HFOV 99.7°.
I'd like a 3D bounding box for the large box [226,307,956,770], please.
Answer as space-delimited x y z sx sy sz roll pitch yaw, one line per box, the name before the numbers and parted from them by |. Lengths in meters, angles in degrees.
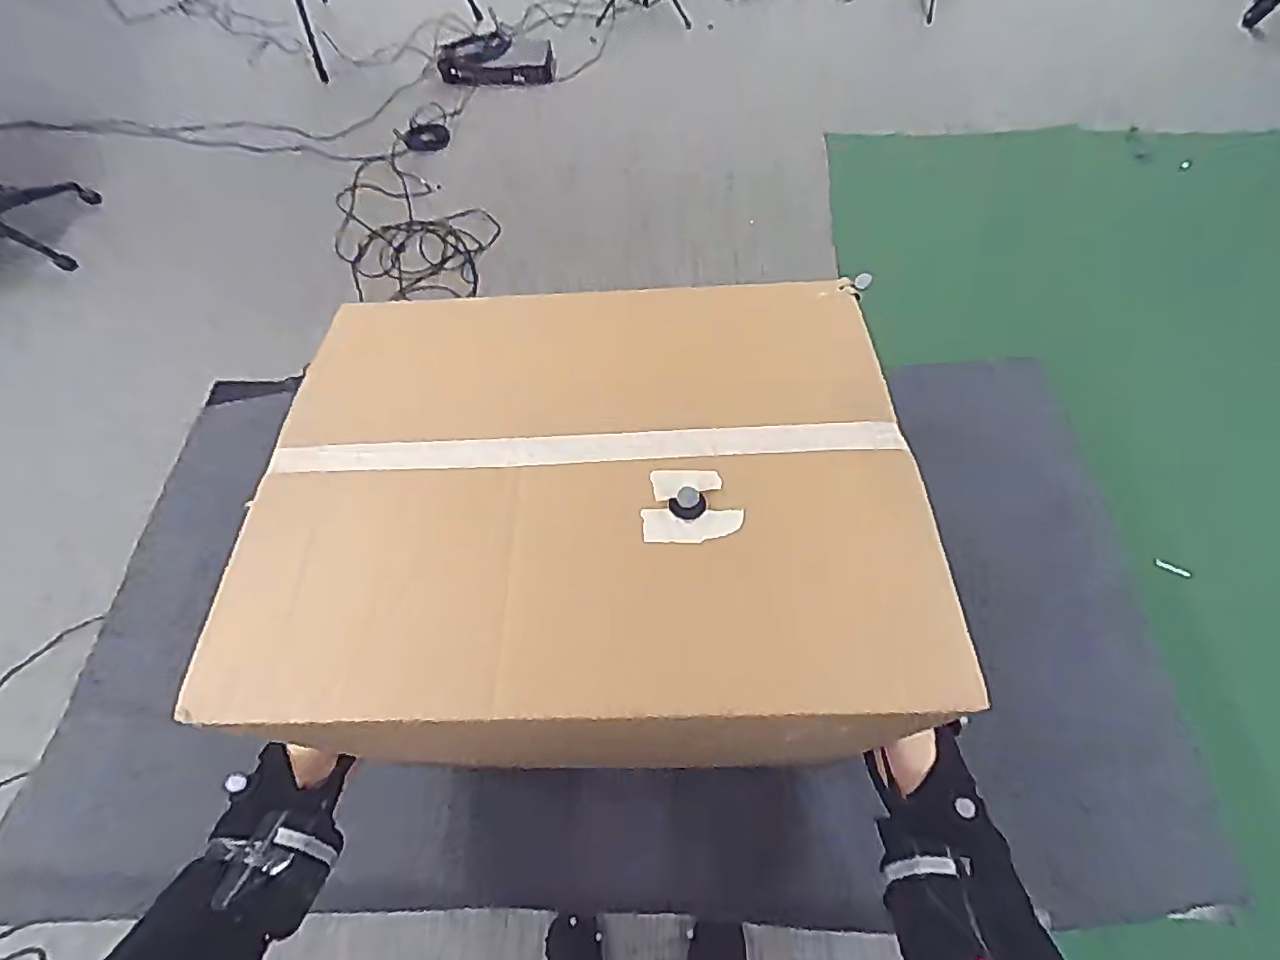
large box | -0.027 0.074 0.493 0.408 0.320 0.320 -2 59 2
